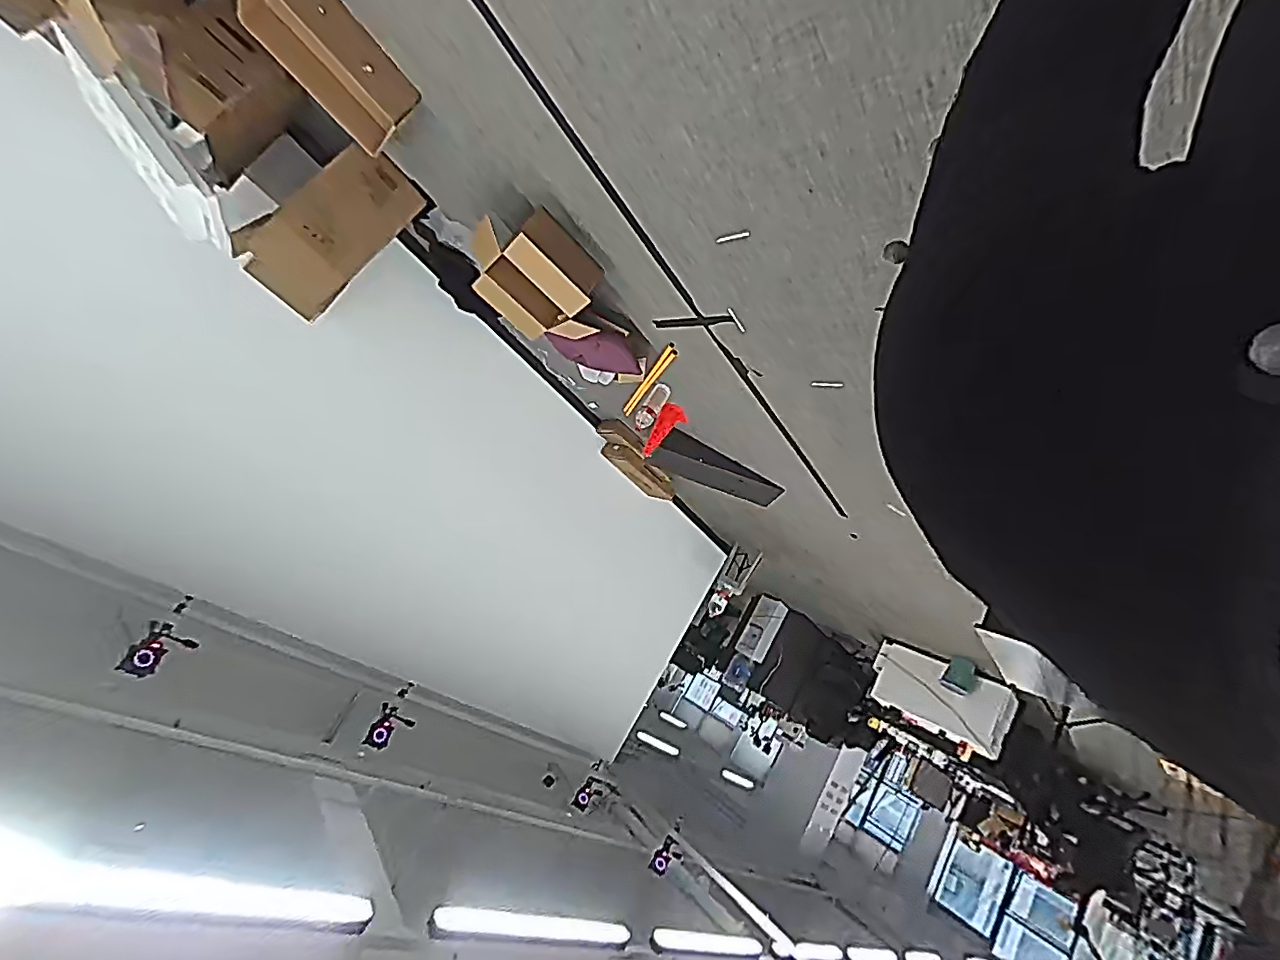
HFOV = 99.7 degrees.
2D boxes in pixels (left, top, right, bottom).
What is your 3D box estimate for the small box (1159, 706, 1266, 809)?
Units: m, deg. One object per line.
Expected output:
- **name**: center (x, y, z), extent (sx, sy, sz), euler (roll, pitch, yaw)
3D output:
- **small box**: center (1.548, 0.742, 1.459), extent (0.168, 0.176, 0.179), euler (41, 163, -32)
